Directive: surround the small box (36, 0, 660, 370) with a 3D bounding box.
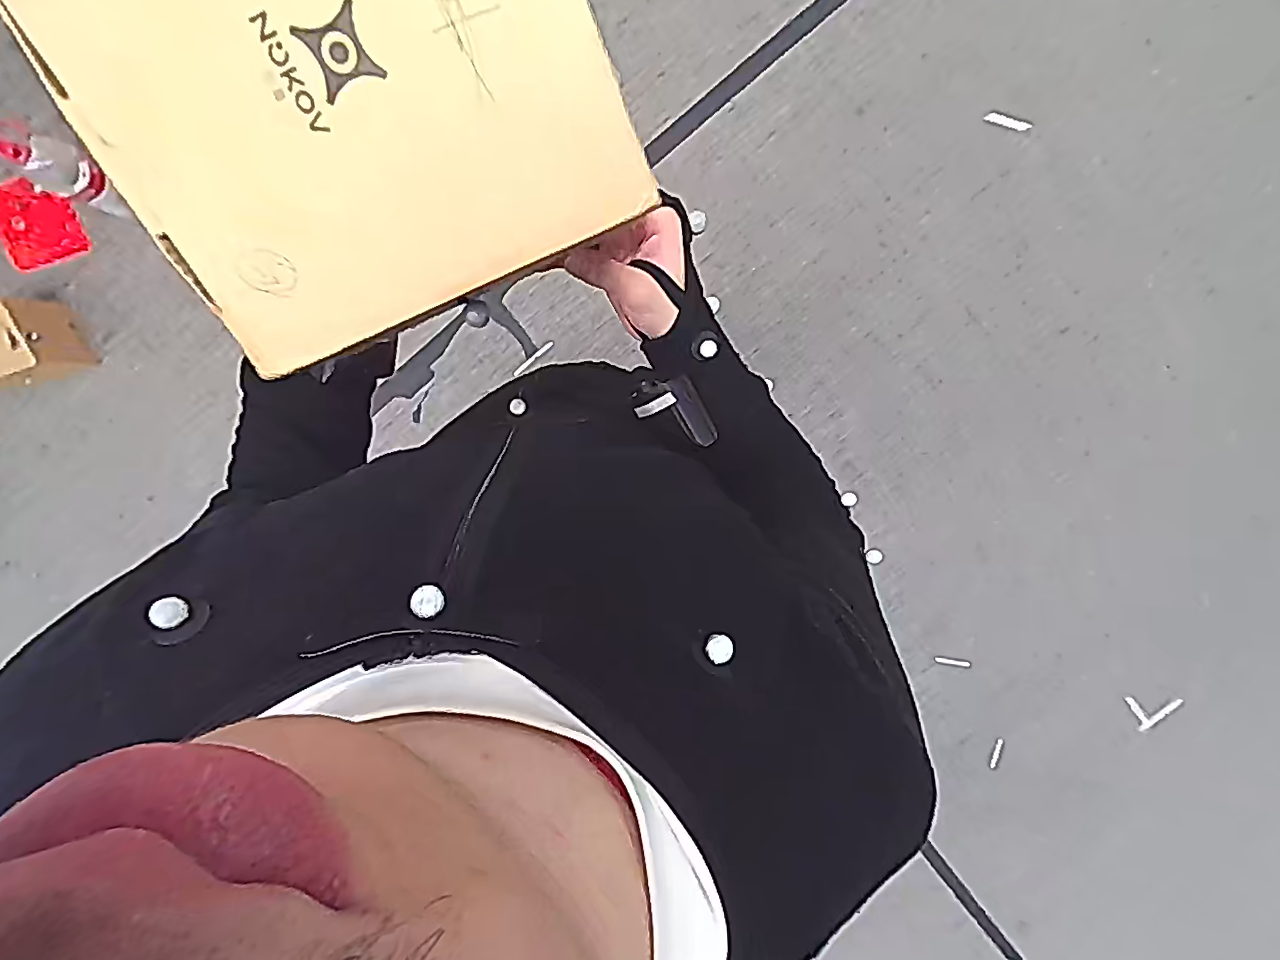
[{"bbox_3d":[-0.105,-0.175,0.267,0.179,0.176,0.168,-23,113,5],"label":"small box"}]
